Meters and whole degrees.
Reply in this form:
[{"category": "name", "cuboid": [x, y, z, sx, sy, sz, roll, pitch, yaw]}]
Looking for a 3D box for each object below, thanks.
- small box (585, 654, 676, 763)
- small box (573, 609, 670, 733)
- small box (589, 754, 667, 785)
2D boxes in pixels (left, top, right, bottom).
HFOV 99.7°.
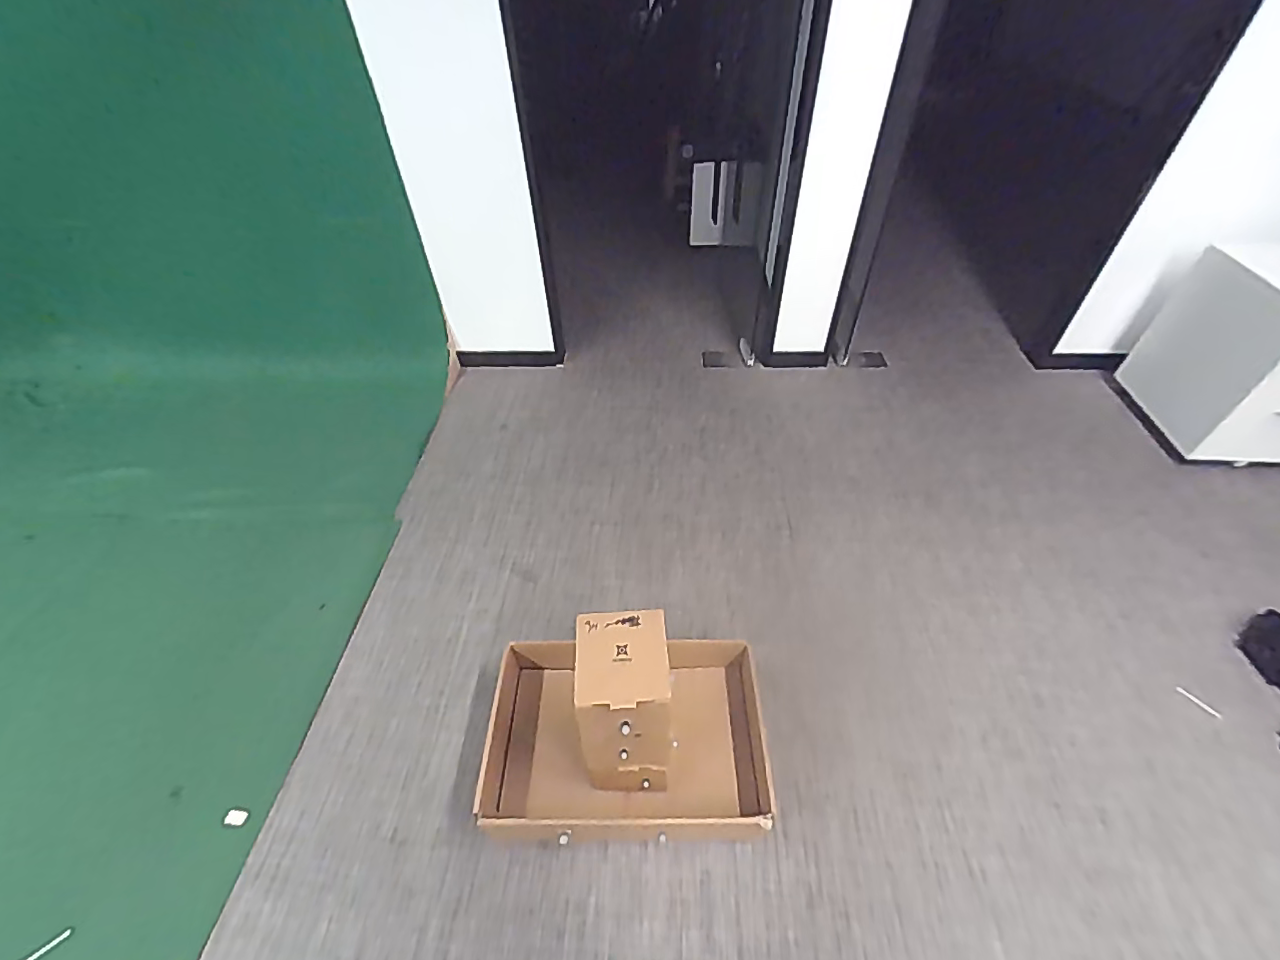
[{"category": "small box", "cuboid": [-0.023, 0.480, 1.136, 0.179, 0.176, 0.168, -3, 47, -2]}, {"category": "small box", "cuboid": [-0.031, 0.365, 1.021, 0.168, 0.176, 0.179, -3, 47, 0]}, {"category": "small box", "cuboid": [-0.020, 0.592, 1.256, 0.168, 0.176, 0.179, 0, 45, 2]}]
